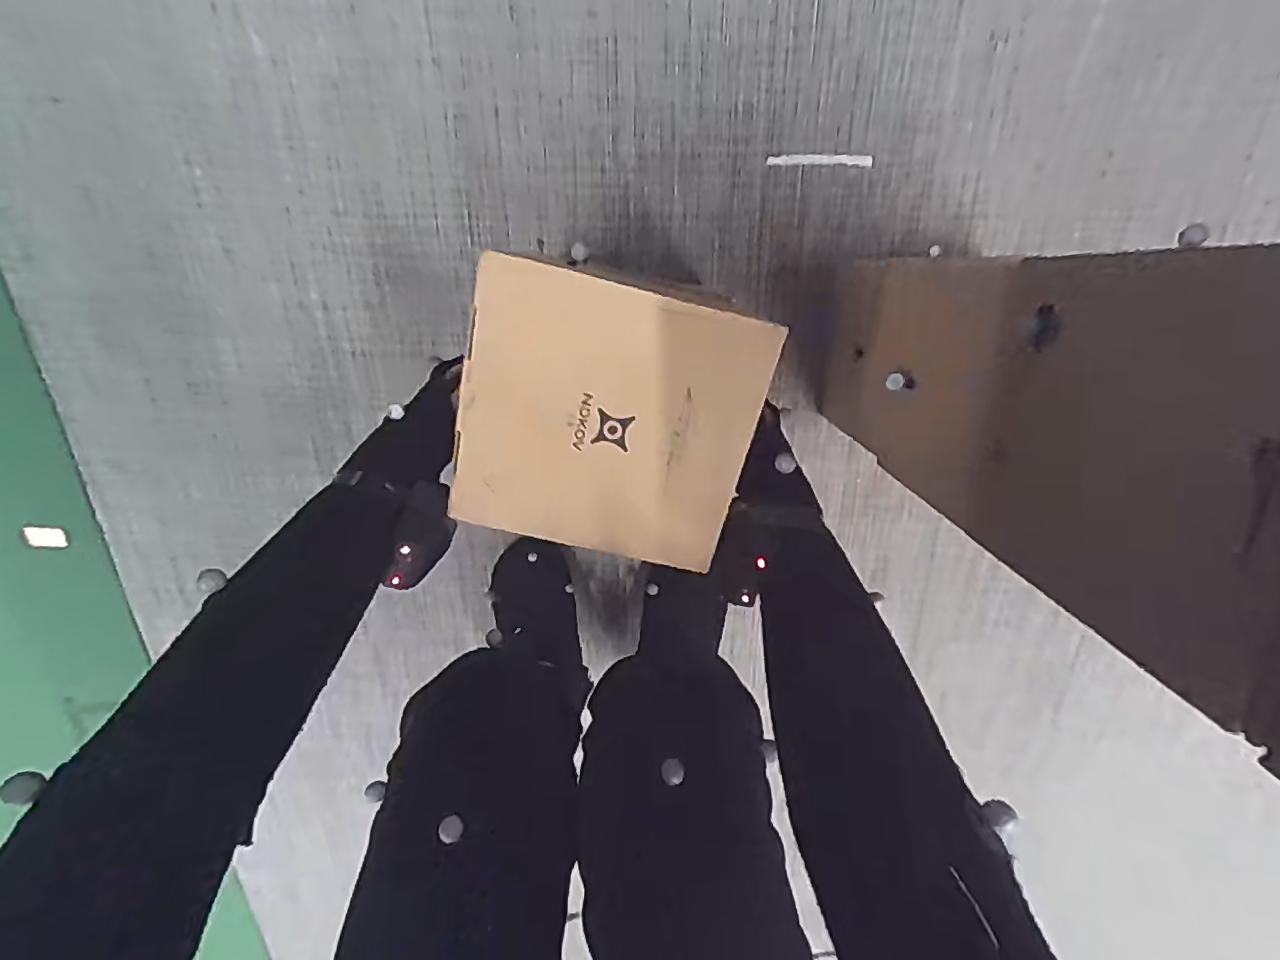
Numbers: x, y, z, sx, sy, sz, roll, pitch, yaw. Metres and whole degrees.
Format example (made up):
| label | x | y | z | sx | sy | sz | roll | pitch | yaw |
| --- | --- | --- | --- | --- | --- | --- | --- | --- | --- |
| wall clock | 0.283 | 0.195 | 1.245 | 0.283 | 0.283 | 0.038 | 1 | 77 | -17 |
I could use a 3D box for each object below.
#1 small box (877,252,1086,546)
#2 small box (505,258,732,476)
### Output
| label | x | y | z | sx | sy | sz | roll | pitch | yaw |
| --- | --- | --- | --- | --- | --- | --- | --- | --- | --- |
| small box | 0.293 | -0.069 | 0.392 | 0.168 | 0.176 | 0.179 | -3 | 111 | -1 |
| small box | -0.024 | -0.121 | 0.546 | 0.179 | 0.176 | 0.168 | 11 | 111 | -4 |
